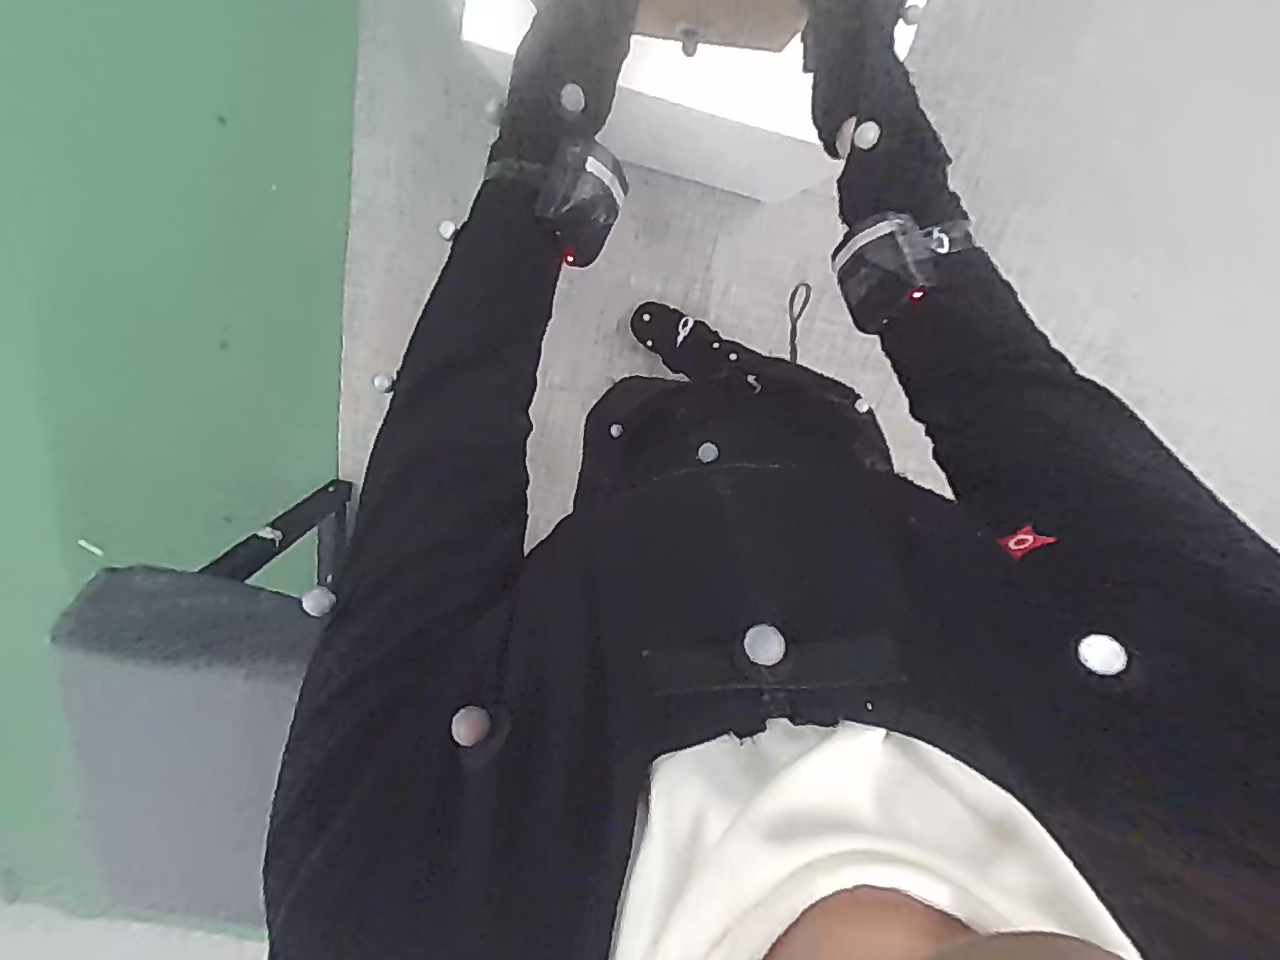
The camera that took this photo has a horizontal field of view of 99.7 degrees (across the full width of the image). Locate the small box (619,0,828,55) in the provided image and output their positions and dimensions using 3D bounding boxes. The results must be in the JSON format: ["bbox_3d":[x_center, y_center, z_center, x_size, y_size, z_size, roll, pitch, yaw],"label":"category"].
[{"bbox_3d":[0.067,-0.464,0.413,0.168,0.176,0.179,5,116,-2],"label":"small box"}]
